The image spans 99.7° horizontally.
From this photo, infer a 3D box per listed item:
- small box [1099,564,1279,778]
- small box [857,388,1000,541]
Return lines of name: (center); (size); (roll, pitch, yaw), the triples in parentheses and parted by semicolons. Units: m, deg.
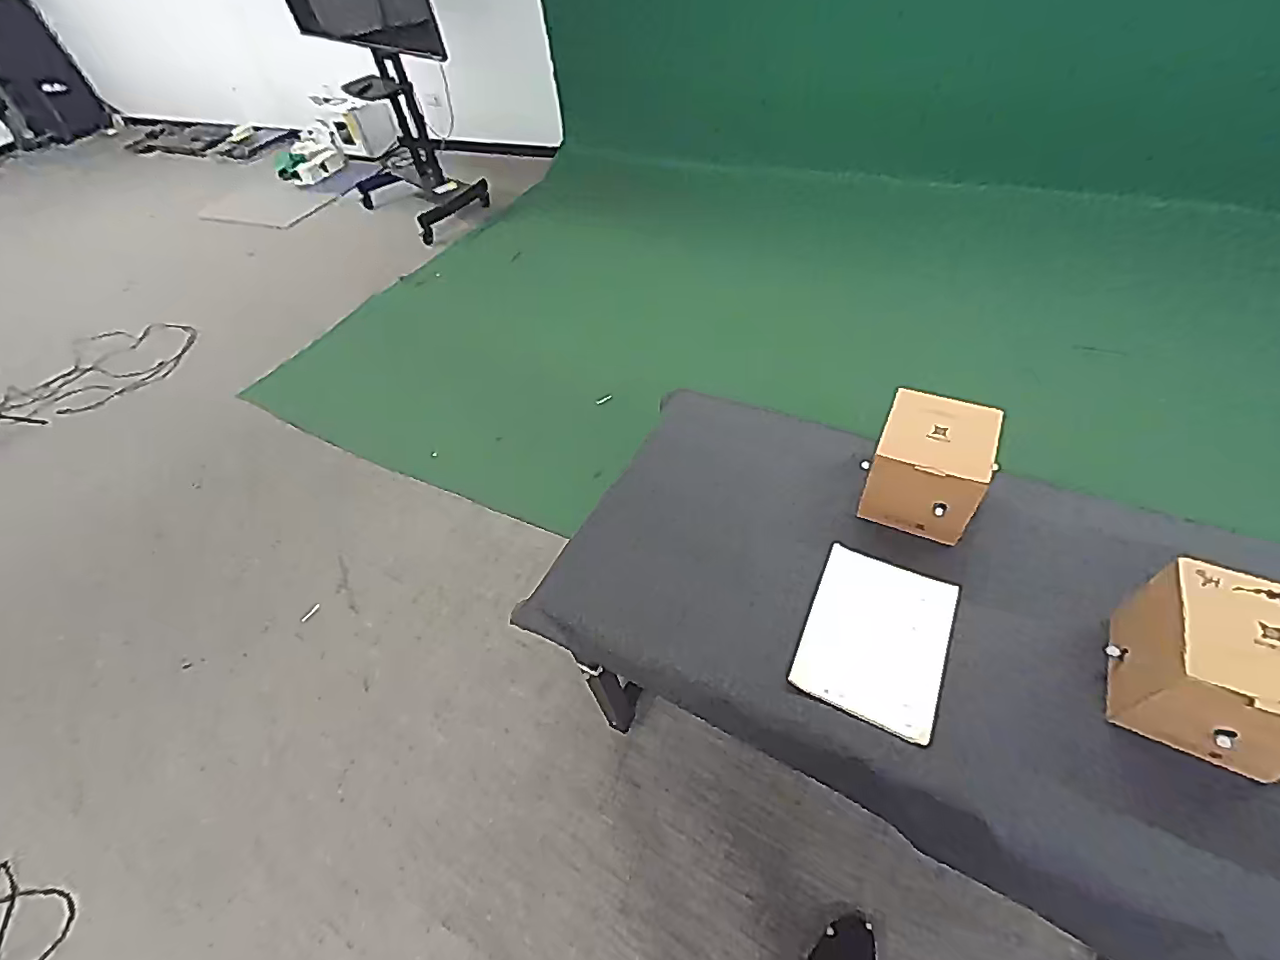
small box: (0.722, 0.243, 0.683); (0.168, 0.176, 0.179); (19, 56, 22)
small box: (0.485, -0.024, 0.926); (0.168, 0.176, 0.179); (18, 54, 21)
